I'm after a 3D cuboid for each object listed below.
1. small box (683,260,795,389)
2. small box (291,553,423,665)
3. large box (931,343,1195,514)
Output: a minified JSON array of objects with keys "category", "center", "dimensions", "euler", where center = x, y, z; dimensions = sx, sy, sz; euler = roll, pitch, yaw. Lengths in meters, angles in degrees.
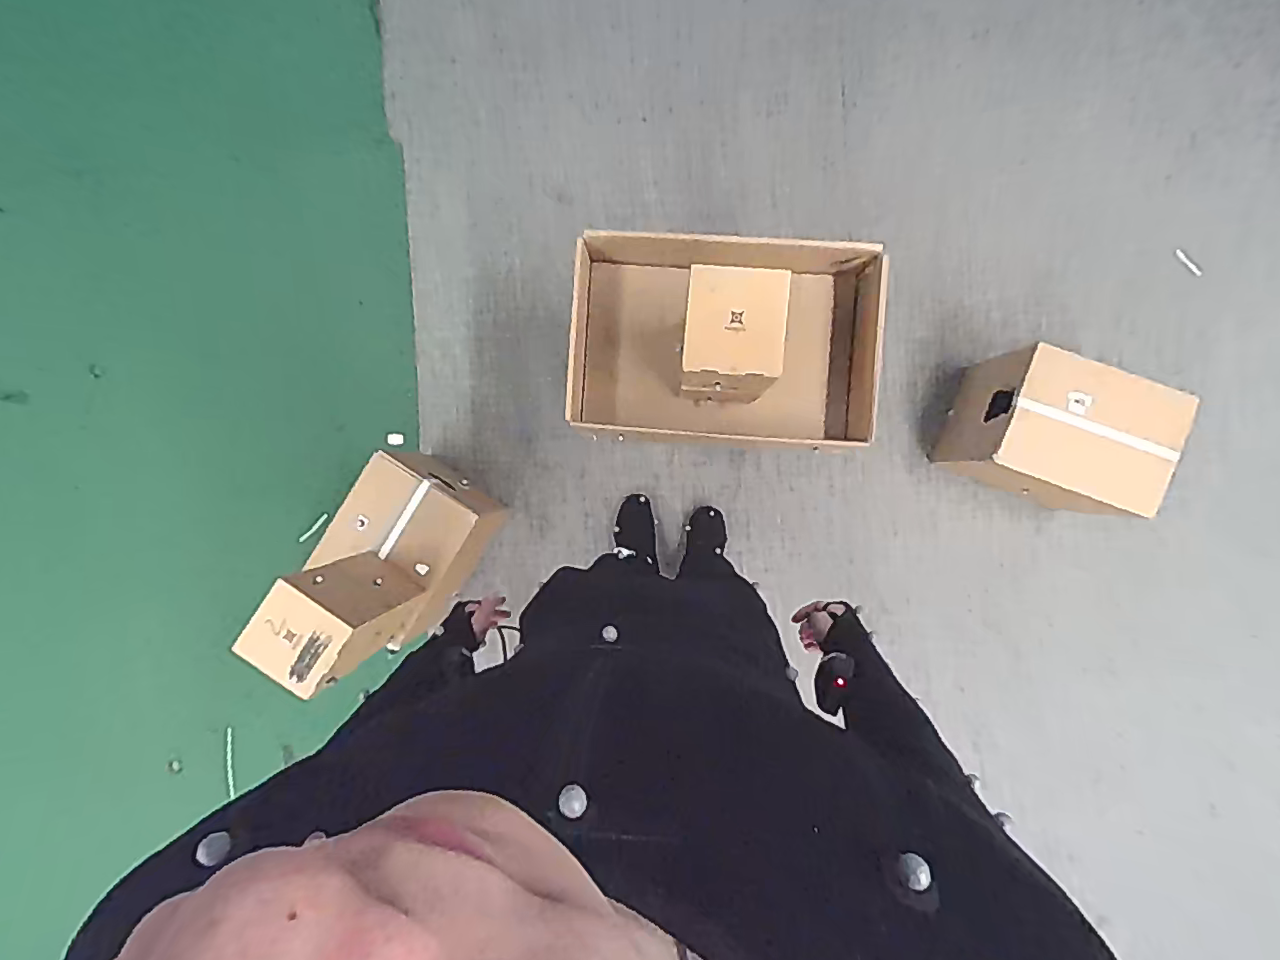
[{"category":"small box","center":[0.166,-0.266,0.956],"dimensions":[0.168,0.176,0.179],"euler":[5,92,3]},{"category":"small box","center":[-0.641,0.286,1.249],"dimensions":[0.179,0.176,0.168],"euler":[36,91,1]},{"category":"large box","center":[1.089,-0.126,1.441],"dimensions":[0.408,0.320,0.320],"euler":[20,91,2]}]
